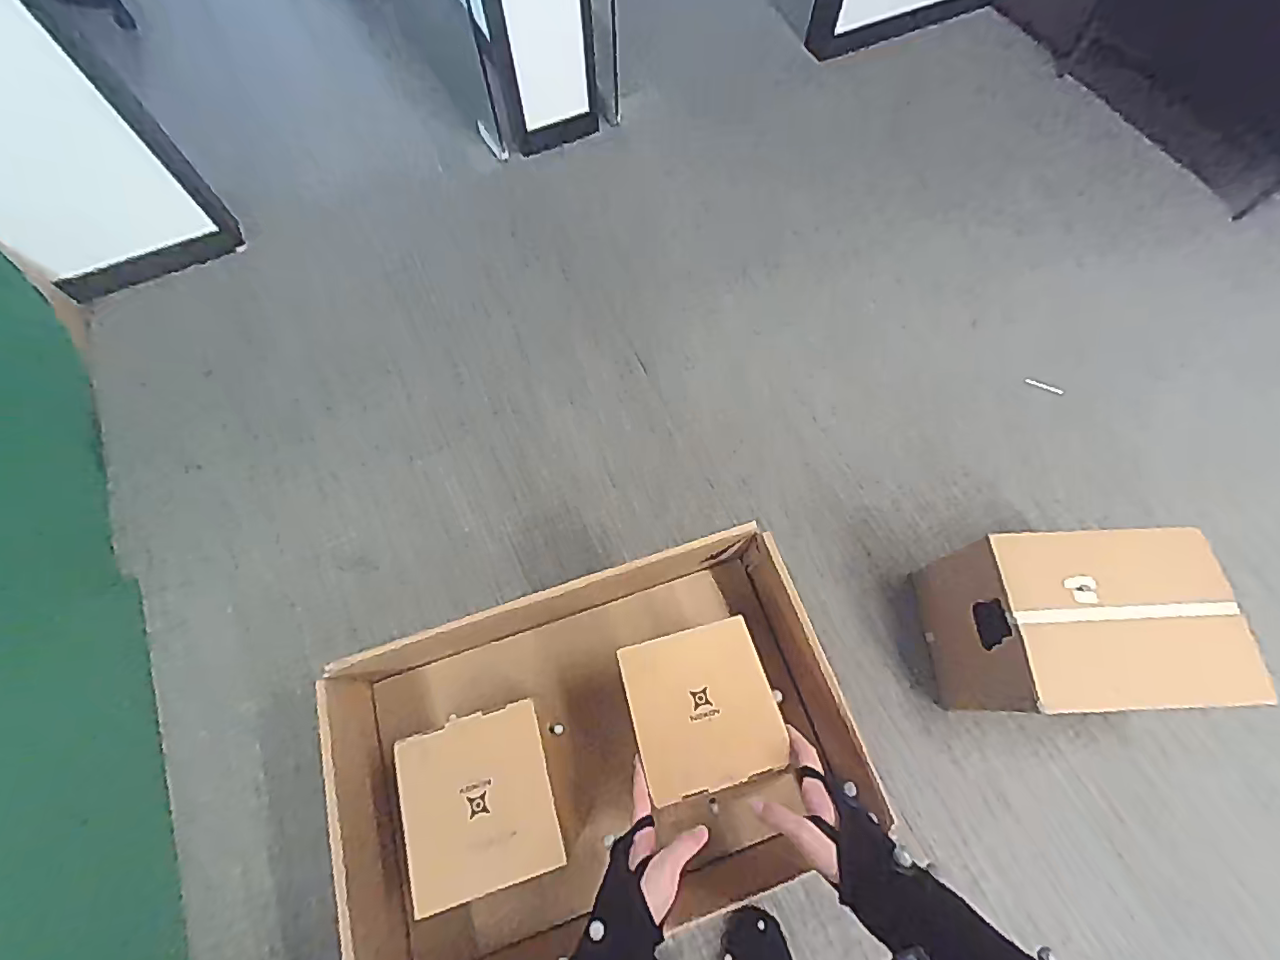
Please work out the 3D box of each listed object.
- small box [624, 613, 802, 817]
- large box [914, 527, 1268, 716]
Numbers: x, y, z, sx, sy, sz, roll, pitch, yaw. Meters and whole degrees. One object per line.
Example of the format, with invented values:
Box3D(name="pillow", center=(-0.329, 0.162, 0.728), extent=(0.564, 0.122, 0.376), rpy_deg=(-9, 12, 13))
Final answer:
Box3D(name="small box", center=(0.079, 0.298, 0.681), extent=(0.168, 0.176, 0.179), rpy_deg=(-13, 53, -6))
Box3D(name="large box", center=(0.848, 0.295, 1.090), extent=(0.408, 0.320, 0.320), rpy_deg=(-2, 67, 0))
